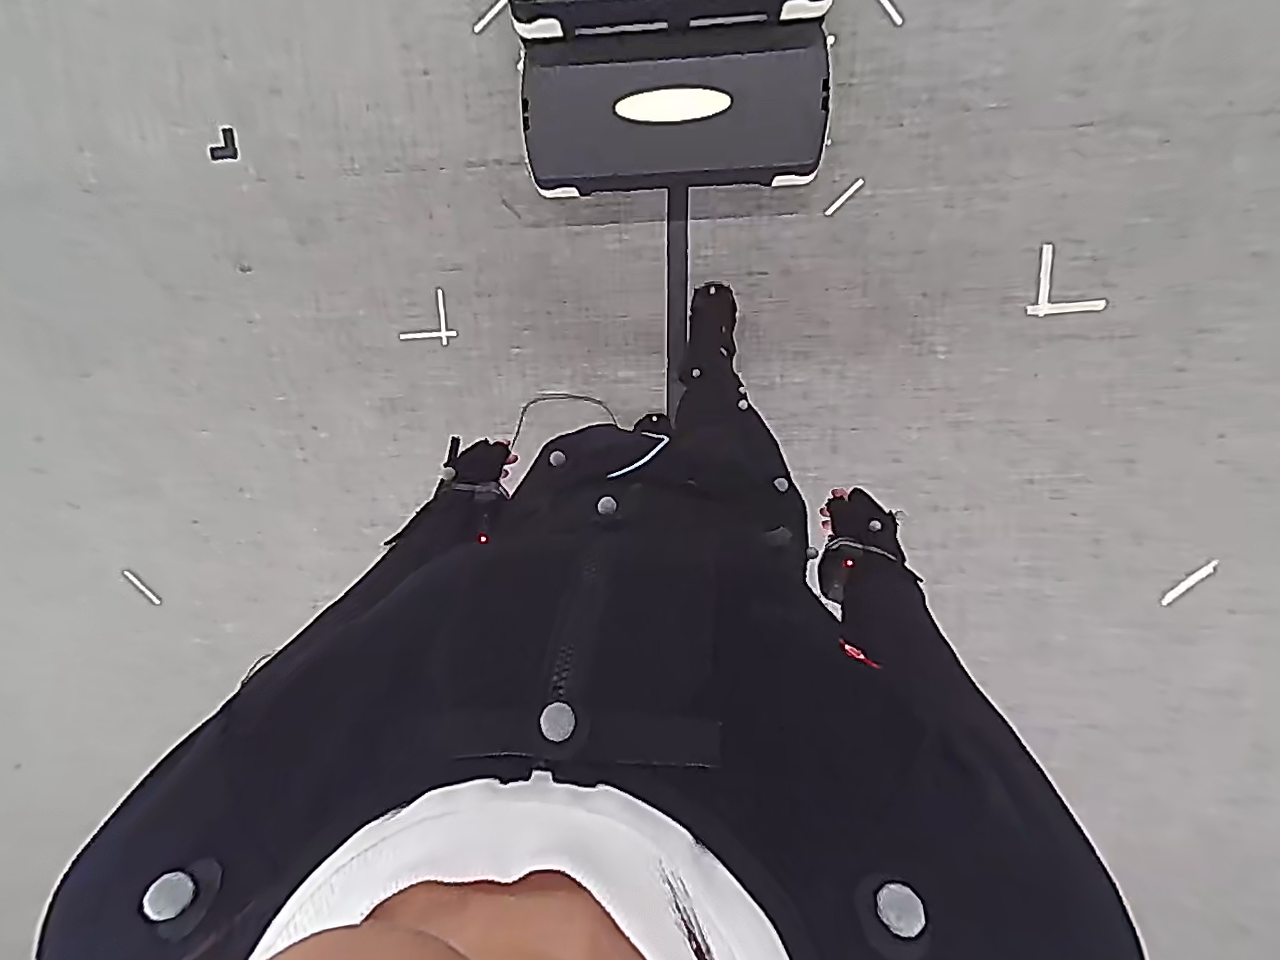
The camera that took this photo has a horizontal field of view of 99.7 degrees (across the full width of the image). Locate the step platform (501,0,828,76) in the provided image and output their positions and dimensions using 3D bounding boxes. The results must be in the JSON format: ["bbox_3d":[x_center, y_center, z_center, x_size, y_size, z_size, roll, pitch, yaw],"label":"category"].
[{"bbox_3d":[0.047,-1.060,1.108,0.684,0.204,0.286,-2,103,4],"label":"step platform"}]
